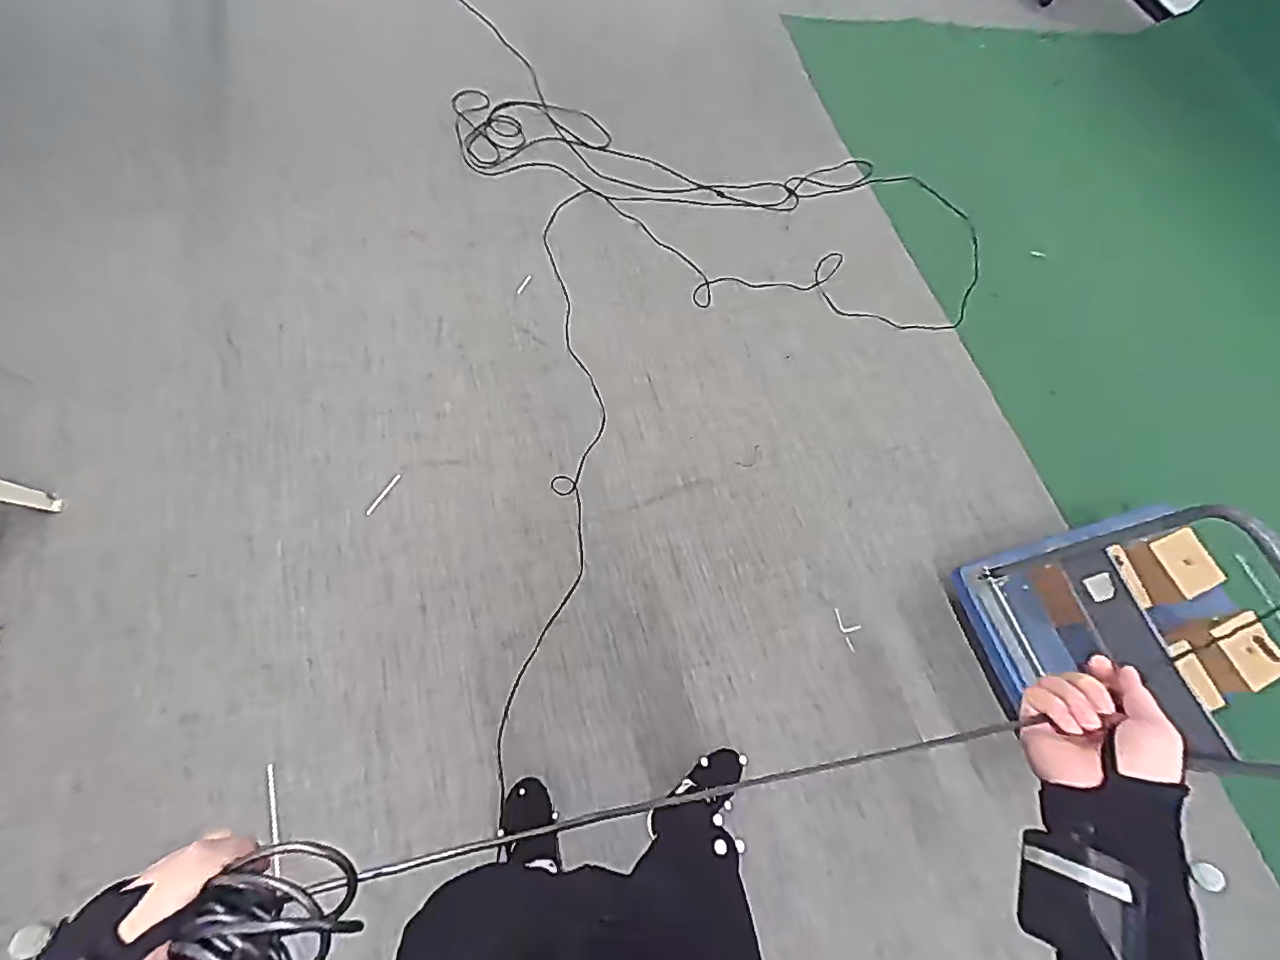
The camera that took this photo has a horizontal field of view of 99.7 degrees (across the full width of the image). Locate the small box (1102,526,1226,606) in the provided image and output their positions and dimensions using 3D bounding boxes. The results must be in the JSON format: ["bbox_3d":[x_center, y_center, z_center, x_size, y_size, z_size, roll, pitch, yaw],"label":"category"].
[{"bbox_3d":[1.512,0.256,1.579,0.179,0.176,0.168,-16,72,-16],"label":"small box"}]

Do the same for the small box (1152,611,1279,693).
[{"bbox_3d":[1.600,0.479,1.500,0.179,0.176,0.168,-16,70,-15],"label":"small box"}]

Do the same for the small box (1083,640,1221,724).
[{"bbox_3d":[1.345,0.534,1.433,0.179,0.176,0.168,-11,70,-14],"label":"small box"}]
